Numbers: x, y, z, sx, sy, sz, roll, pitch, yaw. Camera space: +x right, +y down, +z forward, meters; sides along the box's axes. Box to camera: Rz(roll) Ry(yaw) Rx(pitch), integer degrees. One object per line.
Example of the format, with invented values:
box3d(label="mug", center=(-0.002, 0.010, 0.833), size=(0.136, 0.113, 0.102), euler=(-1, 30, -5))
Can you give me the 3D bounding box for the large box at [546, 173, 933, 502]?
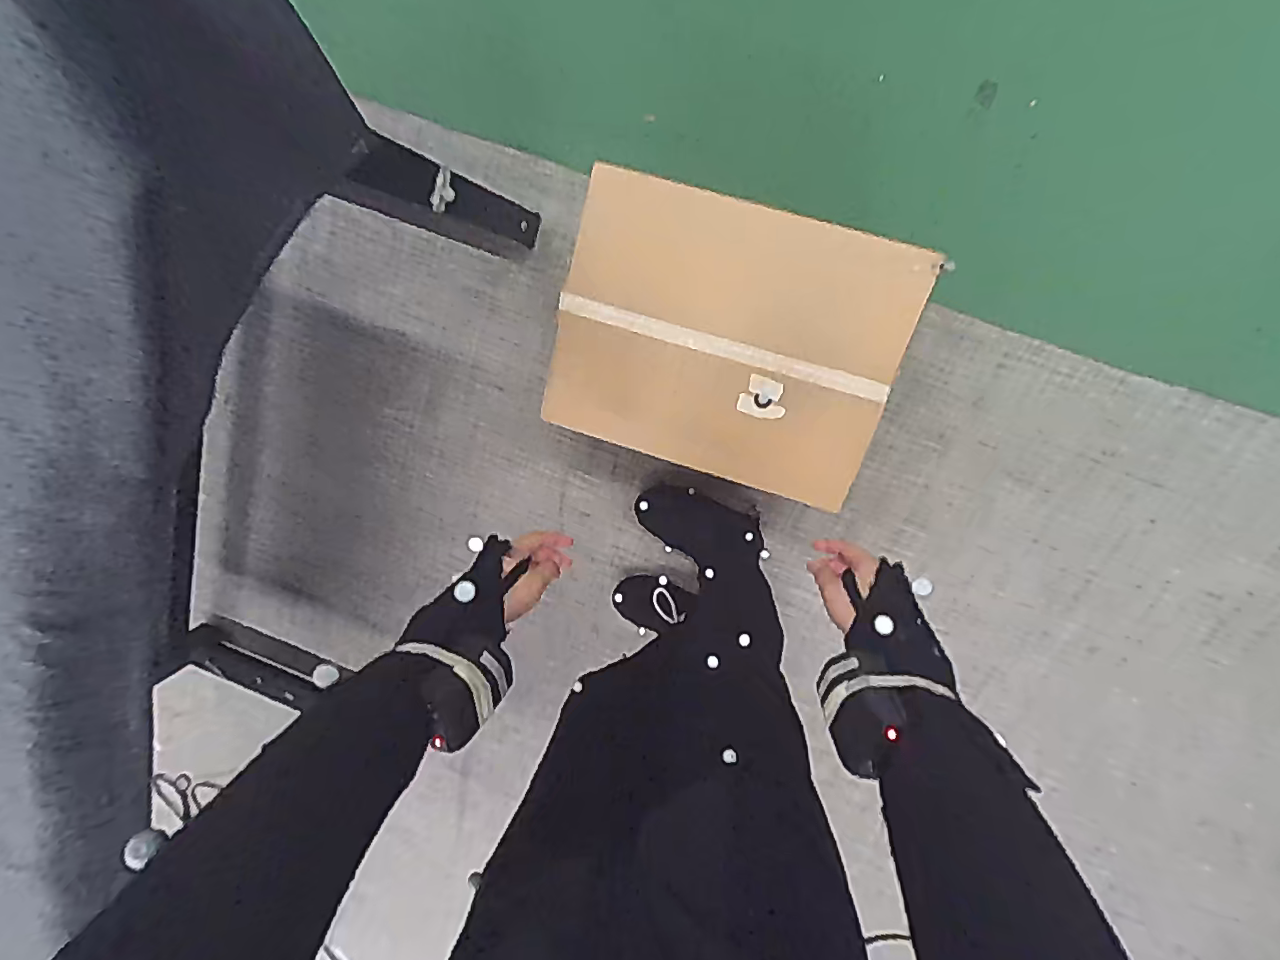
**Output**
box3d(label="large box", center=(0.121, -0.202, 0.799), size=(0.408, 0.320, 0.320), euler=(17, 107, 4))
